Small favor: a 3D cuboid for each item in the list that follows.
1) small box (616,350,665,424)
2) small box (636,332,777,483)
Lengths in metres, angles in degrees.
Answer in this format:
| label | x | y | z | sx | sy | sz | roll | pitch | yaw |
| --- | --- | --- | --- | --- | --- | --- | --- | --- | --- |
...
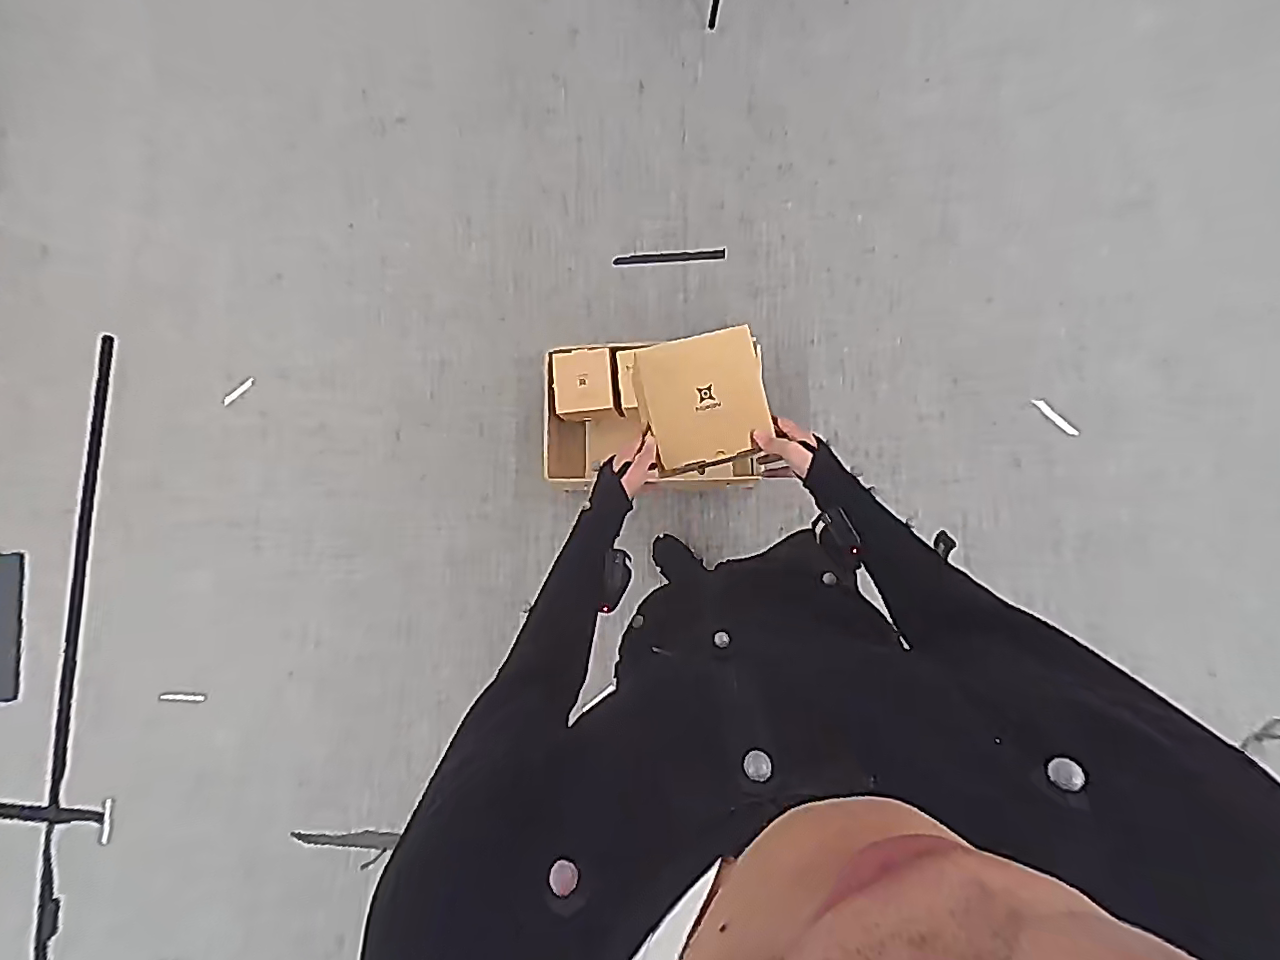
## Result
| label | x | y | z | sx | sy | sz | roll | pitch | yaw |
| --- | --- | --- | --- | --- | --- | --- | --- | --- | --- |
| small box | 0.032 | -0.268 | 1.579 | 0.179 | 0.176 | 0.168 | -7 | 83 | 4 |
| small box | 0.090 | -0.100 | 0.824 | 0.168 | 0.176 | 0.179 | -14 | 88 | -1 |
